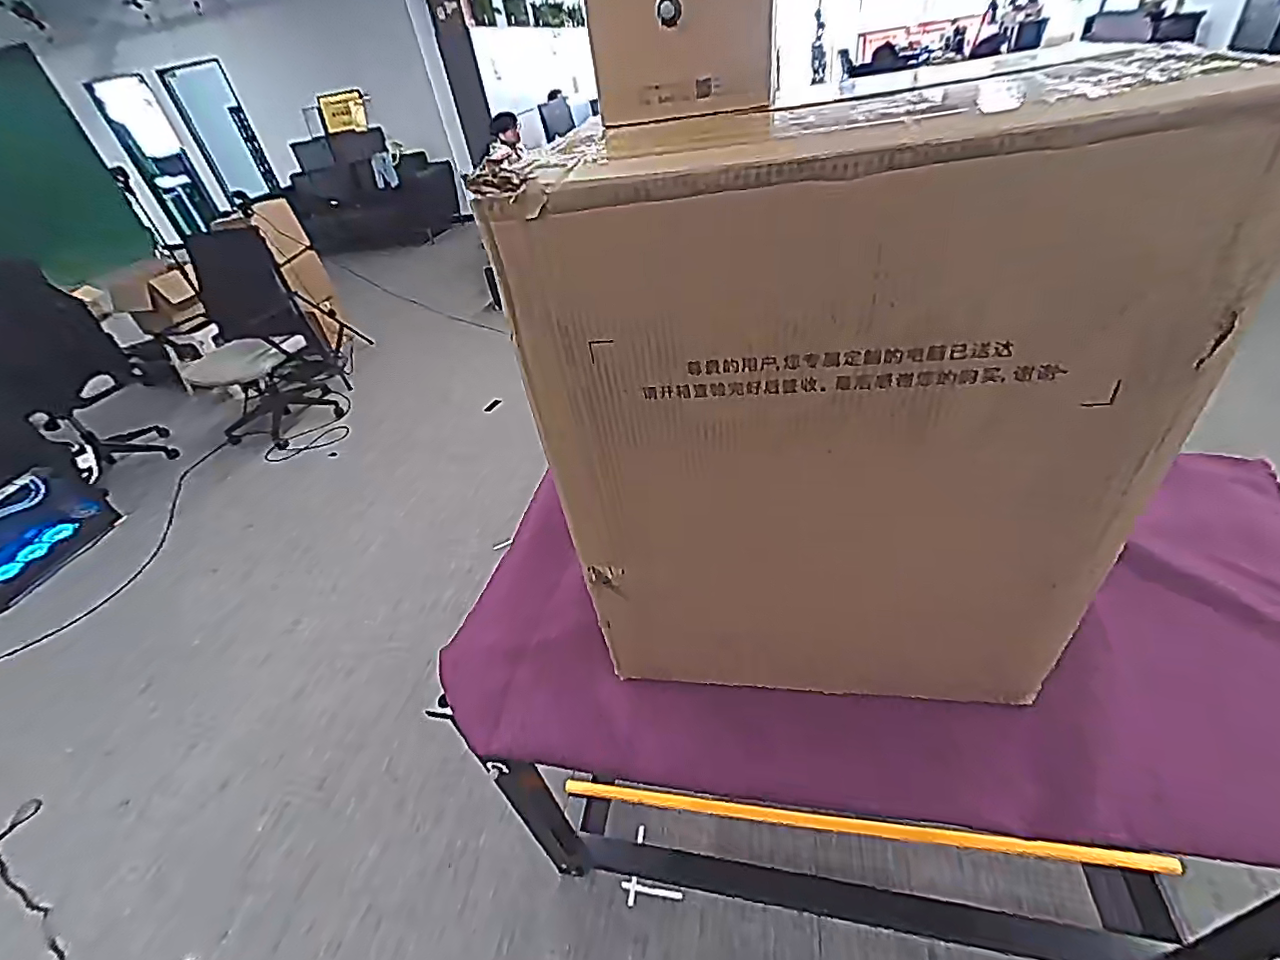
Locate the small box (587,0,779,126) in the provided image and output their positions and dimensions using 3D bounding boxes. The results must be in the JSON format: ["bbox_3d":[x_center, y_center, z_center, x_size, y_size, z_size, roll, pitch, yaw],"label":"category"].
[{"bbox_3d":[0.050,-0.462,0.533,0.168,0.176,0.179,3,39,14],"label":"small box"}]
